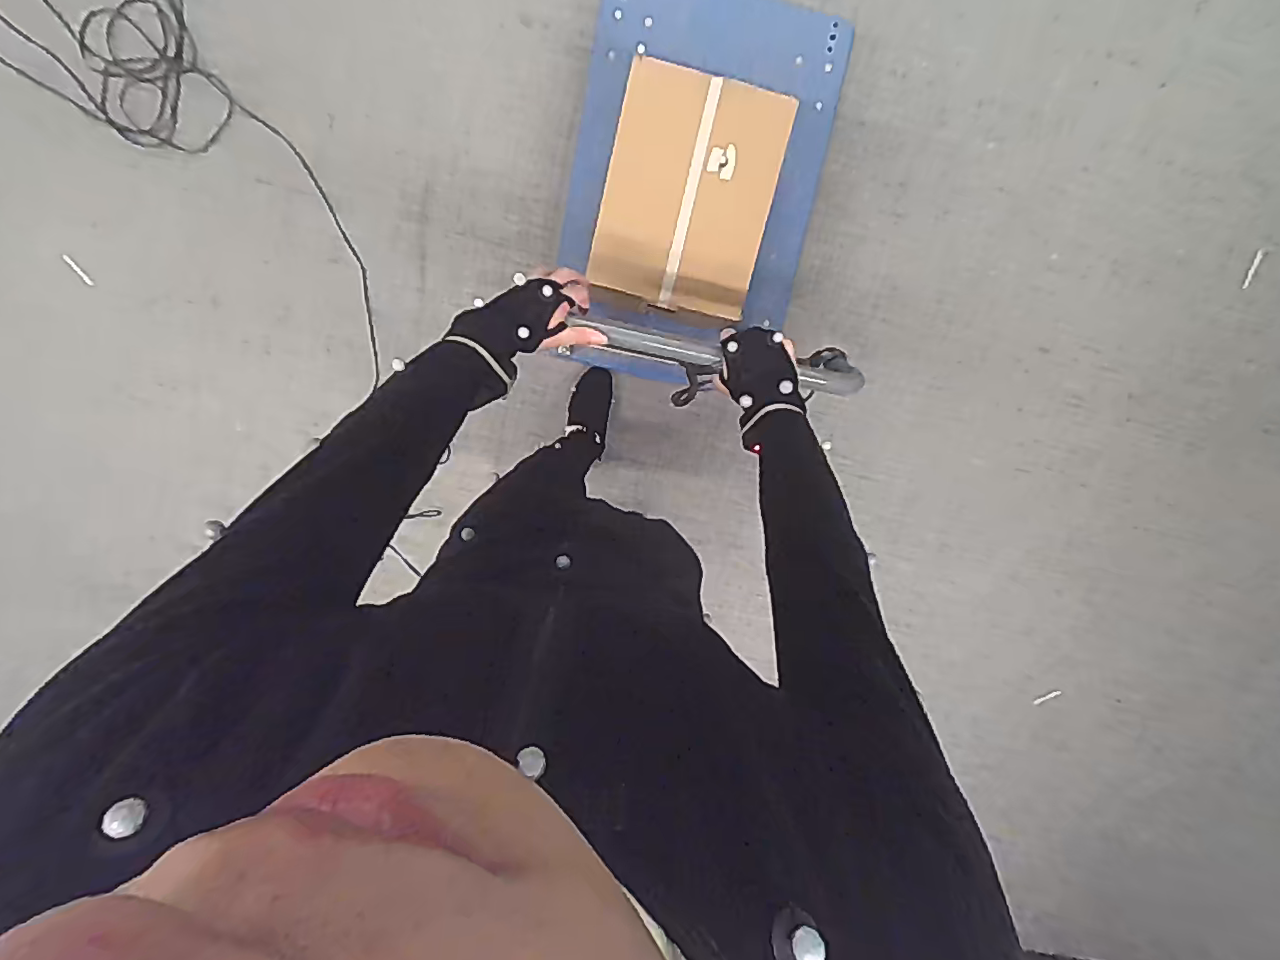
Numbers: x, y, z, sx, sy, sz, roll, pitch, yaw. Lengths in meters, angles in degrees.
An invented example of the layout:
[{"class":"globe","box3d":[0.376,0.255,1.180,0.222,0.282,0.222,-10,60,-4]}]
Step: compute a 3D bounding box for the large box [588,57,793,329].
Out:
[{"class":"large box","box3d":[0.088,-0.569,1.165,0.320,0.320,0.408,13,101,-4]}]
